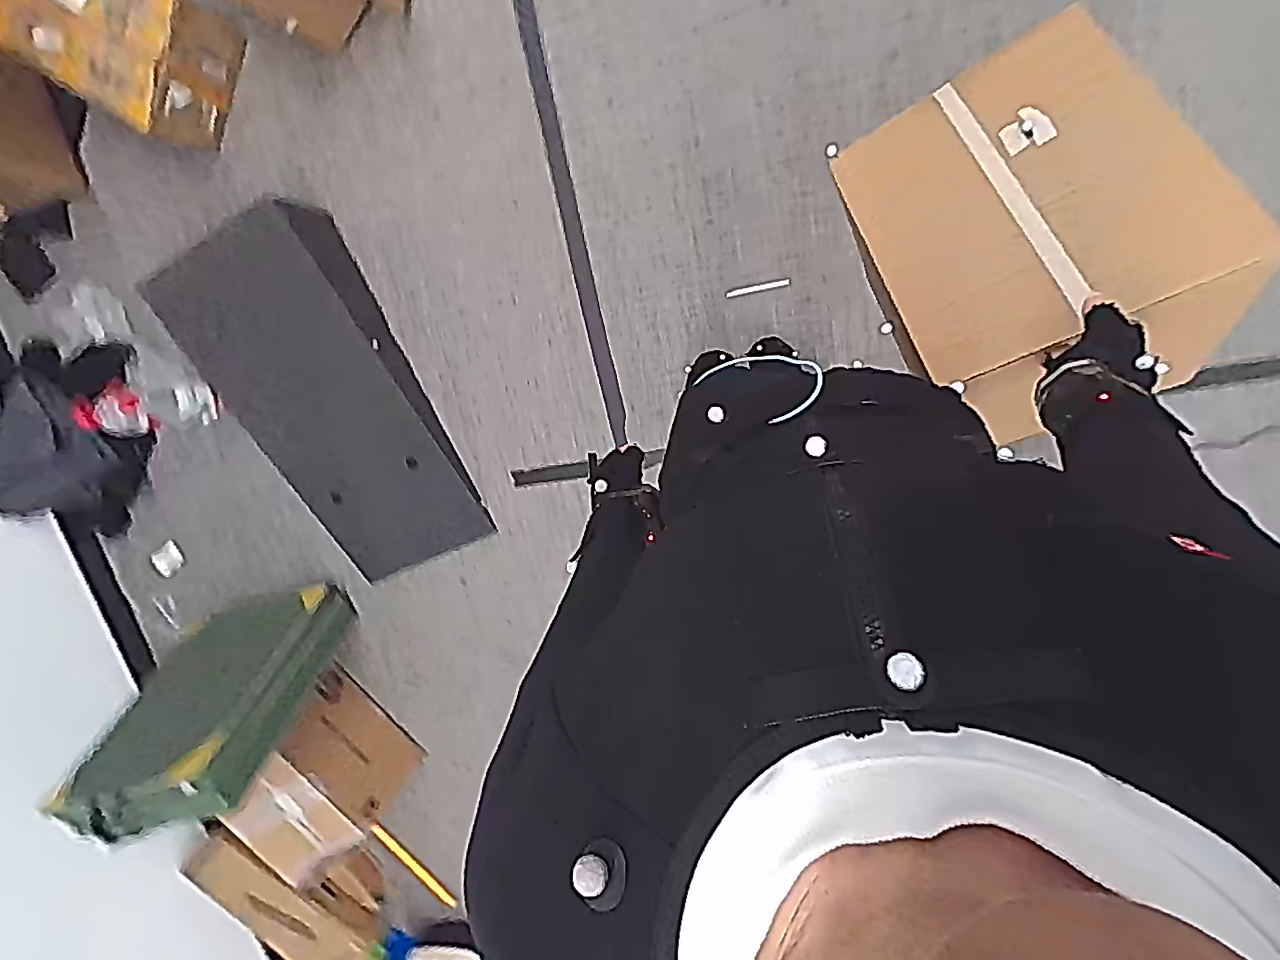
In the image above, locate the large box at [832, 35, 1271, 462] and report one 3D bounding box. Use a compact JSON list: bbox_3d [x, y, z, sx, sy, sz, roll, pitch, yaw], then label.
[{"bbox_3d":[0.528,-0.294,0.785,0.320,0.320,0.408,-22,64,24],"label":"large box"}]
